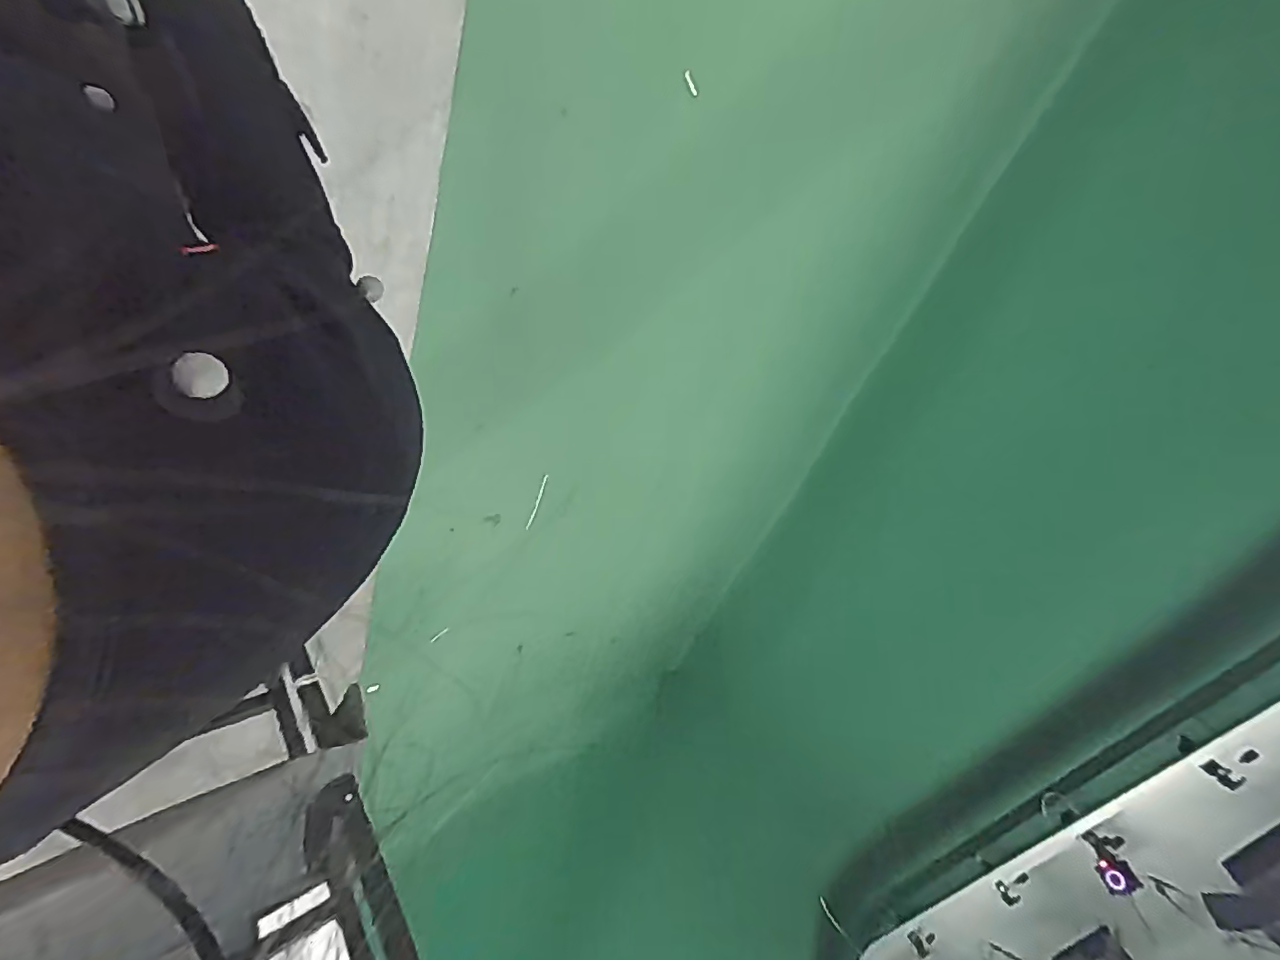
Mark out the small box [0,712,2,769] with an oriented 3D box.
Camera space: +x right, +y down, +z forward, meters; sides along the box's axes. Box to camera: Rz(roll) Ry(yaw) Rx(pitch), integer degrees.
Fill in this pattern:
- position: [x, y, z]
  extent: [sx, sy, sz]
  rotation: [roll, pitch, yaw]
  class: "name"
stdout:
- position: [-1.634, 0.598, 1.260]
  extent: [0.168, 0.176, 0.179]
  rotation: [-11, 135, -43]
  class: "small box"
